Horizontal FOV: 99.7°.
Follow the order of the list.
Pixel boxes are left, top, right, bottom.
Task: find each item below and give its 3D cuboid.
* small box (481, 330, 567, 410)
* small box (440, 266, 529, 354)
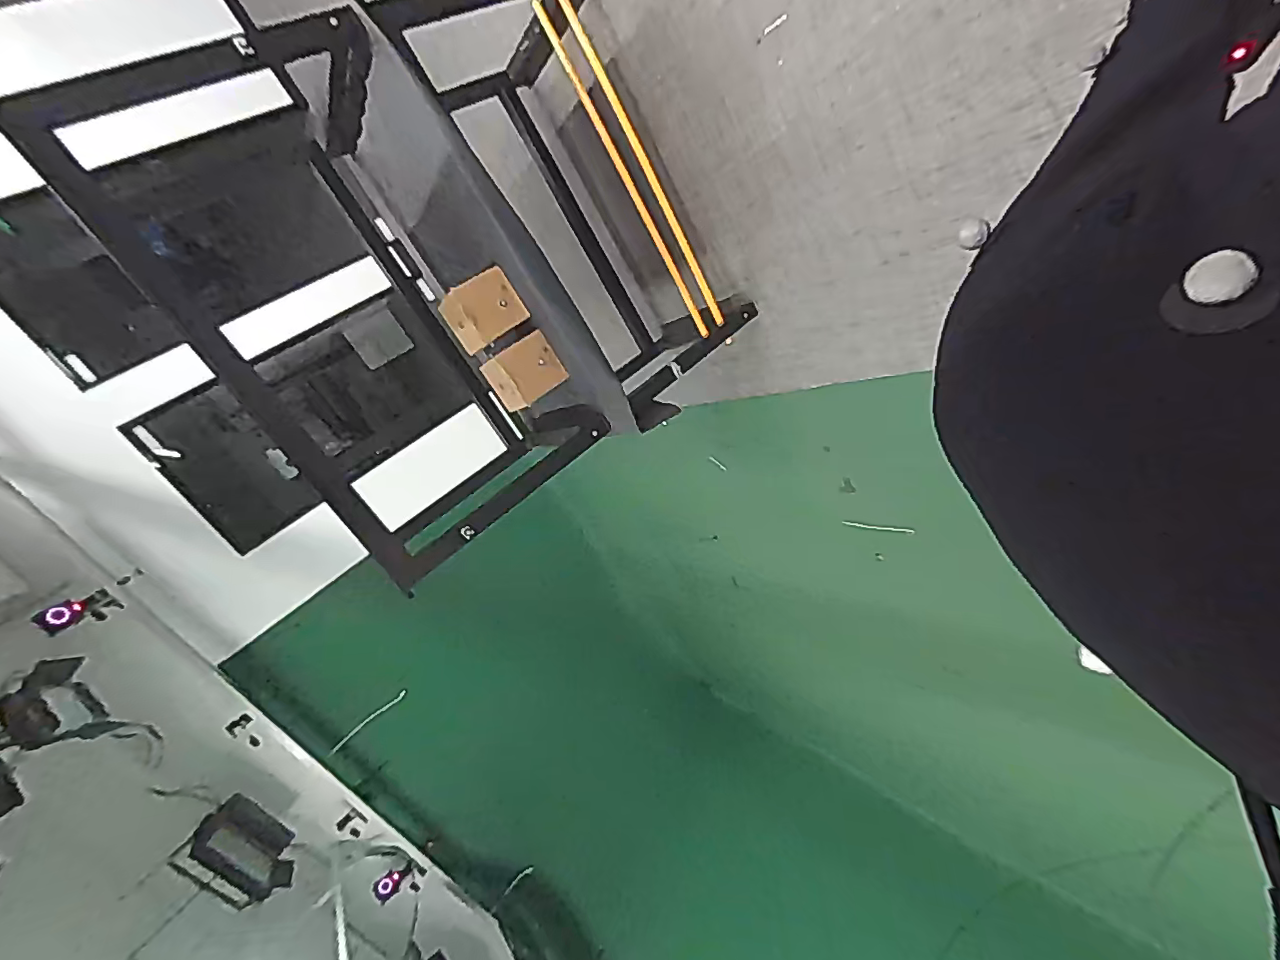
[{"bbox_3d":[-0.351,-0.332,1.646,0.168,0.176,0.179,57,154,-17],"label":"small box"},{"bbox_3d":[-0.455,-0.498,1.589,0.168,0.176,0.179,57,154,-18],"label":"small box"}]
